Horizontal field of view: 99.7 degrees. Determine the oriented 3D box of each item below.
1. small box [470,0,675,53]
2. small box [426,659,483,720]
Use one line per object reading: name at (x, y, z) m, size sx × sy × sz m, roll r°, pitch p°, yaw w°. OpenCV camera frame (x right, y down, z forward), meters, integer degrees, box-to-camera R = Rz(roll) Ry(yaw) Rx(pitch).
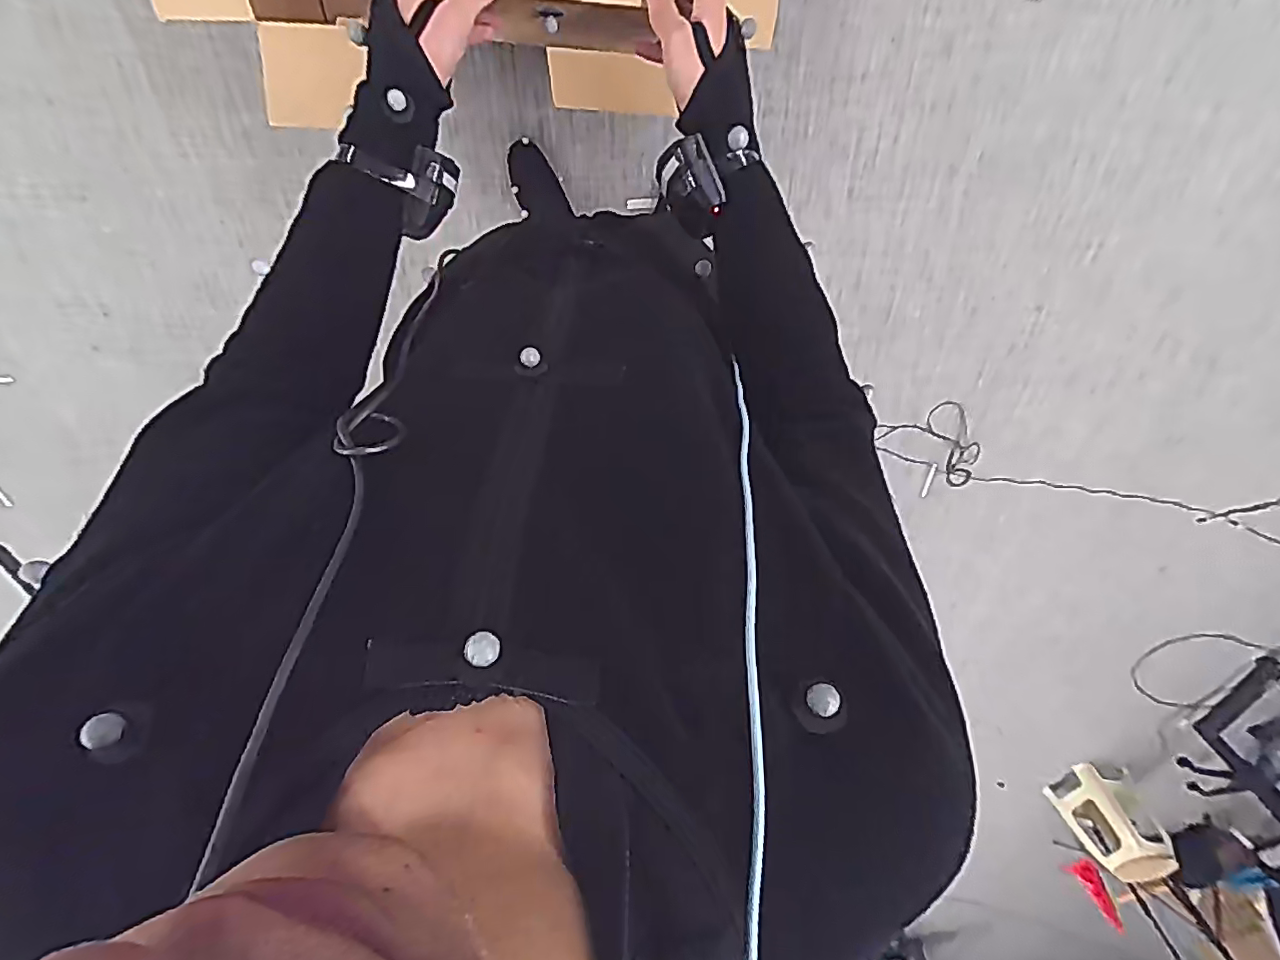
small box at (-0.060, -0.479, 0.449) m, size 0.179 × 0.176 × 0.168 m, roll 0°, pitch 119°, yaw -7°
small box at (-0.737, 0.834, 2.165) m, size 0.168 × 0.176 × 0.179 m, roll 0°, pitch 126°, yaw -2°
